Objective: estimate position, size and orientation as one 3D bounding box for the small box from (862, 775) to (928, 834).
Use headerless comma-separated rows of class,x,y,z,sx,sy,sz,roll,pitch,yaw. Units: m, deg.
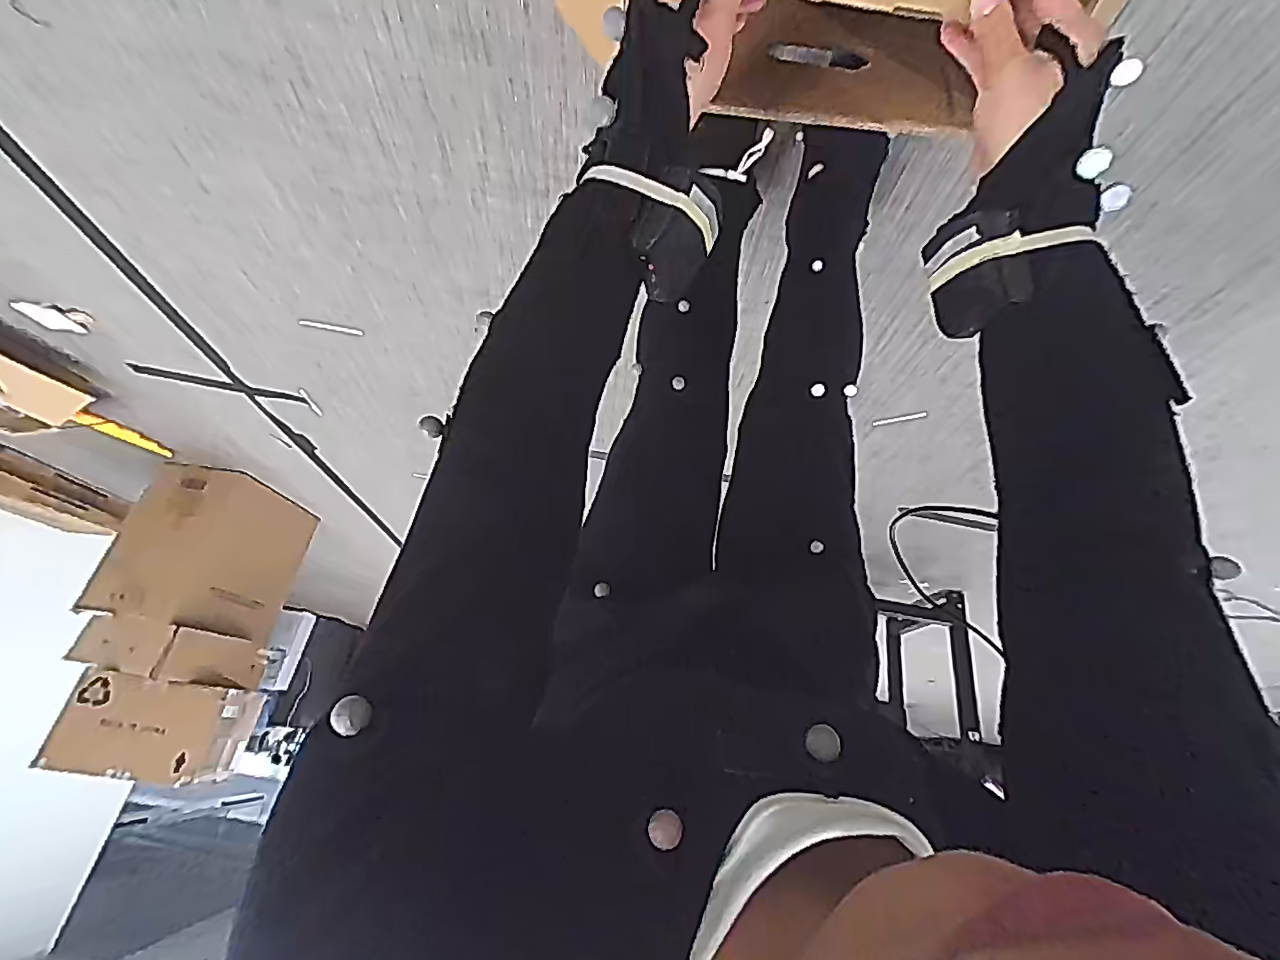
small box,0.978,1.251,2.094,0.168,0.176,0.179,13,153,-6
